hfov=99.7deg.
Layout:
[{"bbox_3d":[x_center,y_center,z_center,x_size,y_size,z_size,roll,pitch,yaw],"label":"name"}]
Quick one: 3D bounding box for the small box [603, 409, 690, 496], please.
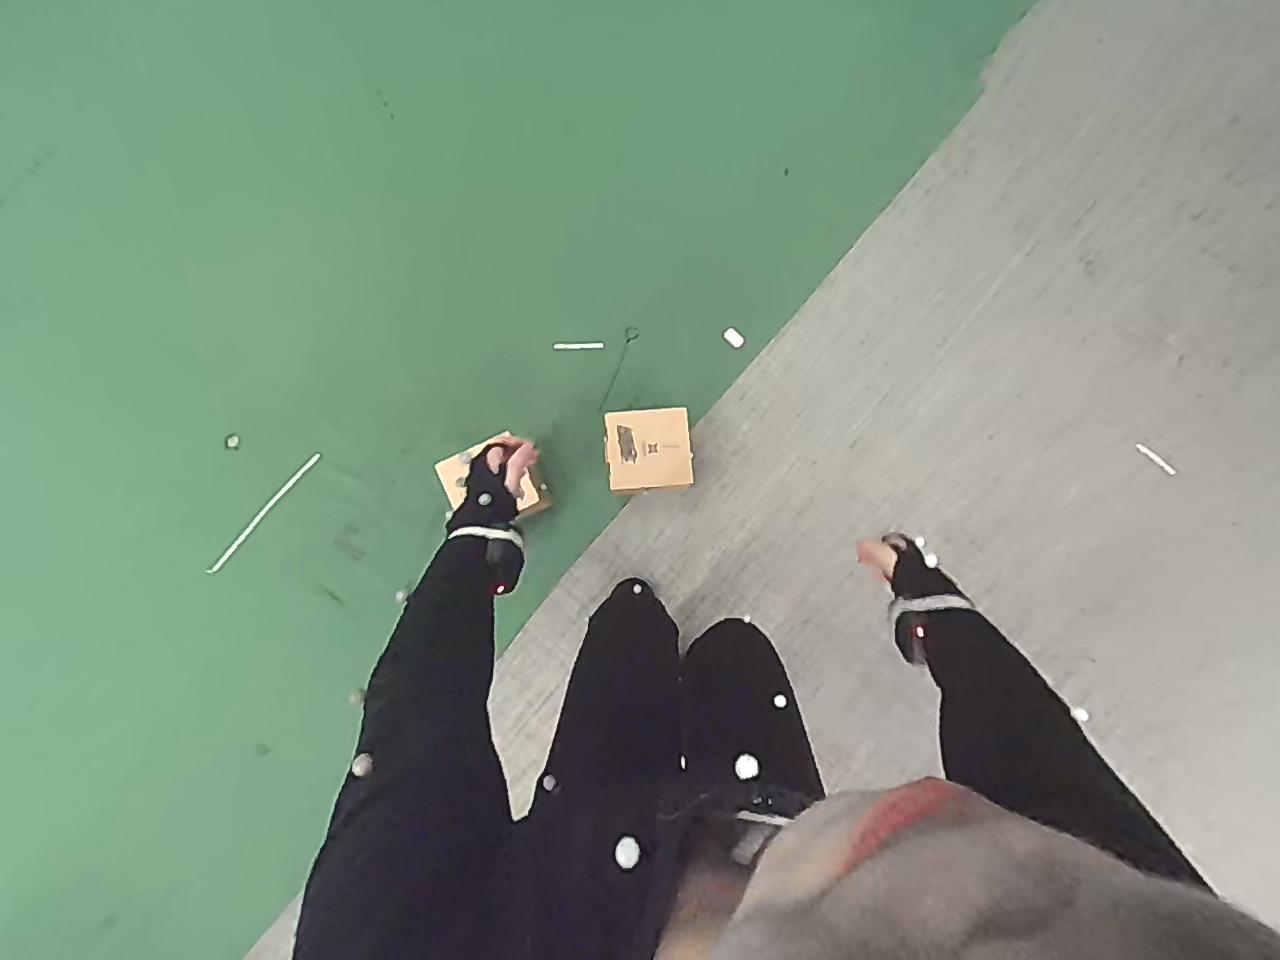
[{"bbox_3d":[0.014,-0.056,1.210,0.179,0.176,0.168,-4,85,-1],"label":"small box"}]
